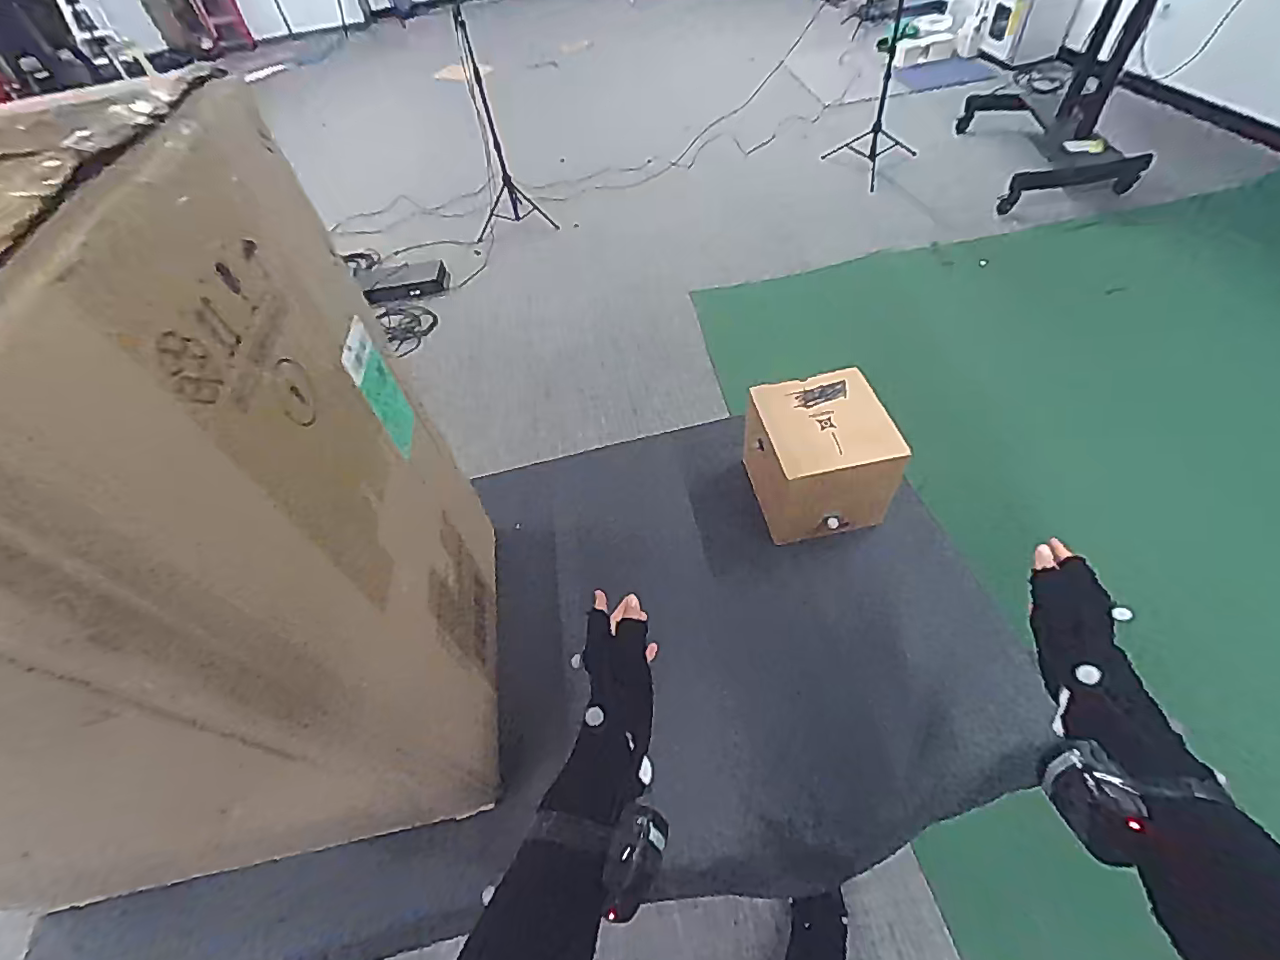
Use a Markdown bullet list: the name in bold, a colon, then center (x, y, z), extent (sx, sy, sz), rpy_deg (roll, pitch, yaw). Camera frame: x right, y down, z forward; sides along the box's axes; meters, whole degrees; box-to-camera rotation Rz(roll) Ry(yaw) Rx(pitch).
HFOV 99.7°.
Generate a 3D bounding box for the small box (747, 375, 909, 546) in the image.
- **small box**: center (0.263, -0.026, 0.808), extent (0.168, 0.176, 0.179), rpy_deg (-11, 52, -1)
